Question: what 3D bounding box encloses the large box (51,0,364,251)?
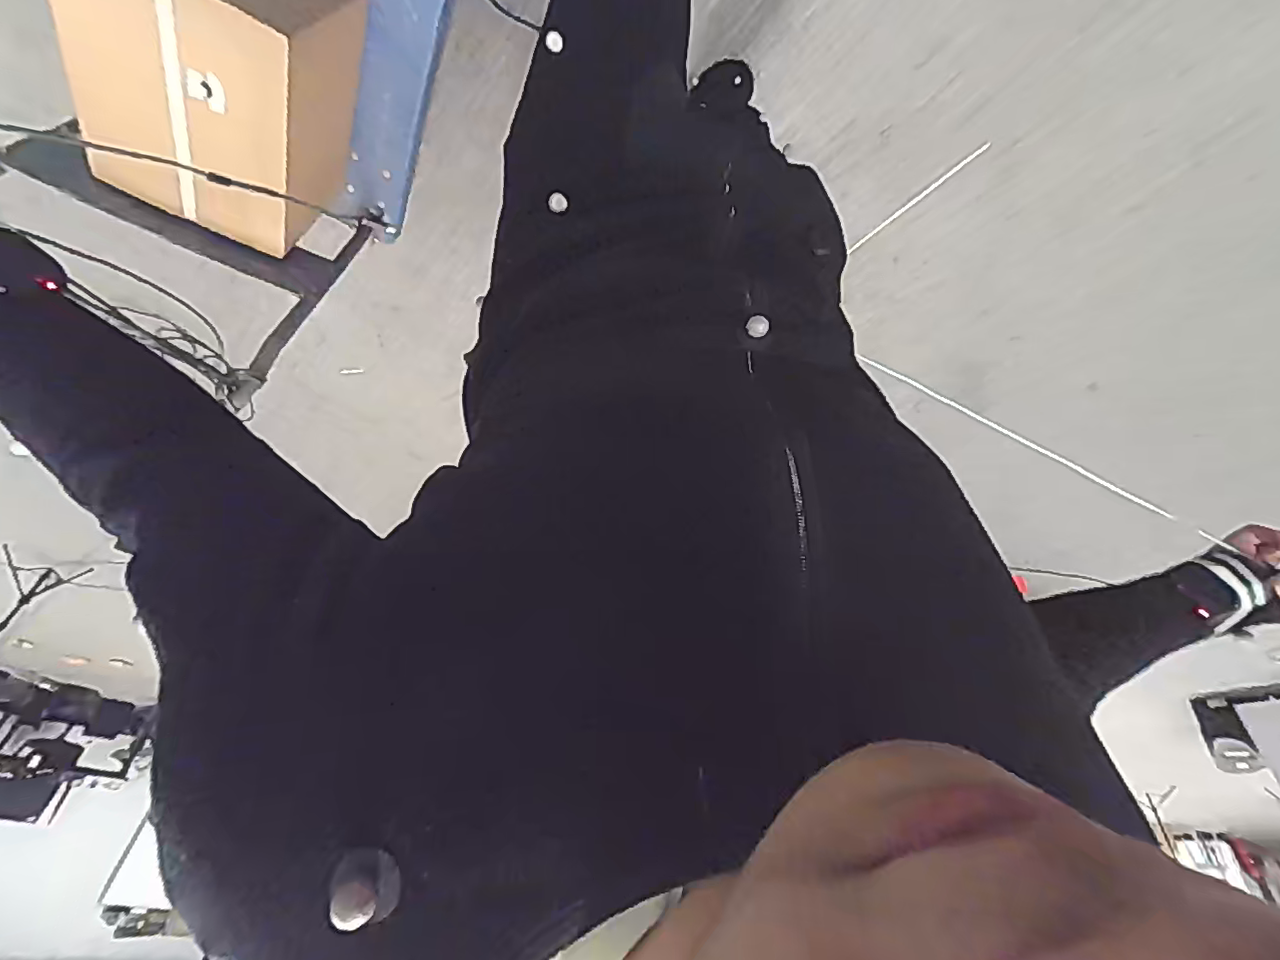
[{"bbox_3d":[-0.722,-0.713,0.954,0.320,0.320,0.408,21,138,-20],"label":"large box"}]
